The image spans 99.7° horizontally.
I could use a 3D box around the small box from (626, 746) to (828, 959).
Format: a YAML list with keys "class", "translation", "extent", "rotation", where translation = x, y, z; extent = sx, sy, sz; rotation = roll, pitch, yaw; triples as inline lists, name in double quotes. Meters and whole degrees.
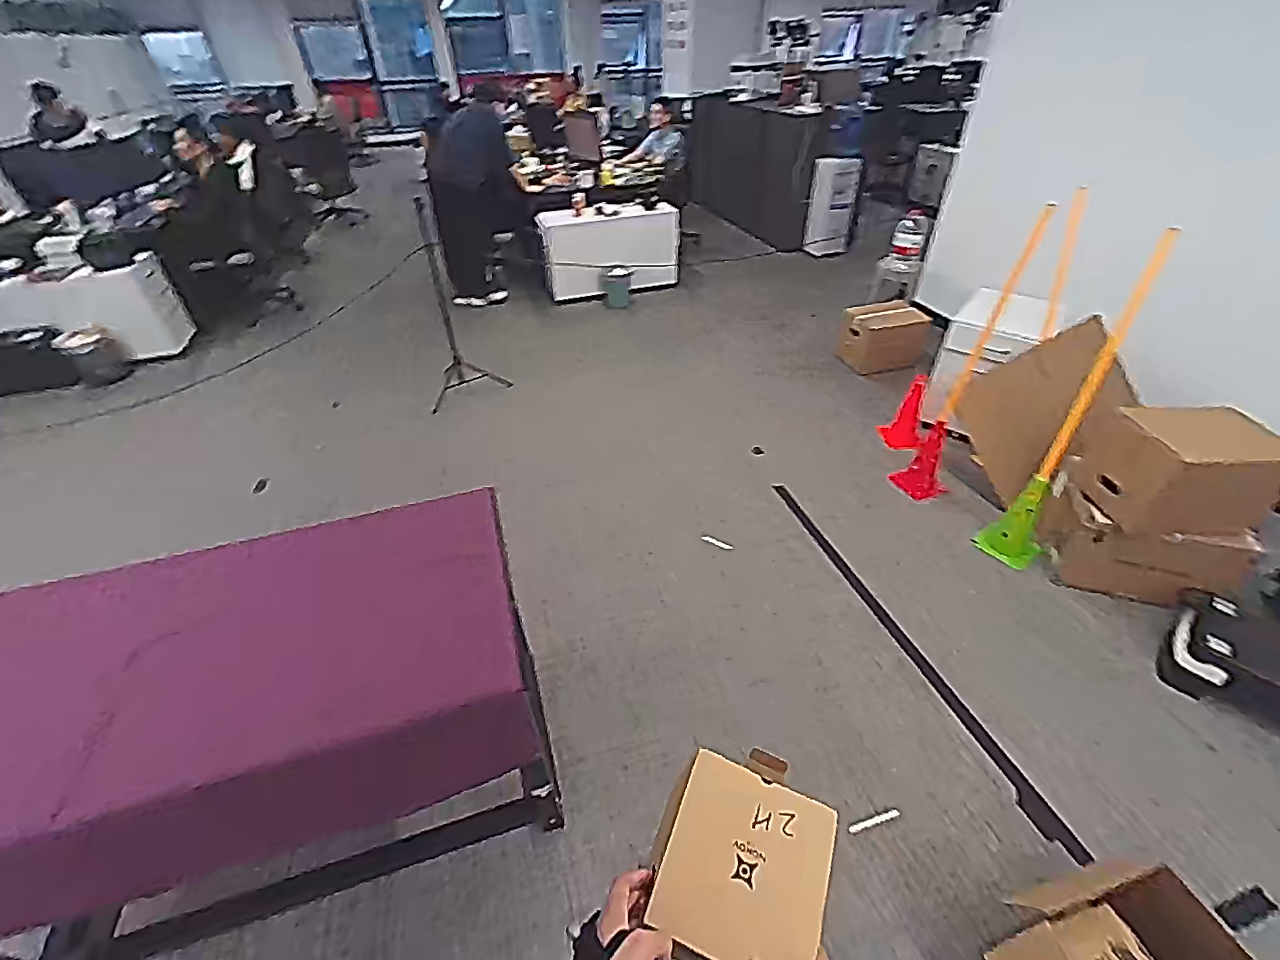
- class: "small box"
  translation: [0.092, 0.447, 0.616]
  extent: [0.168, 0.176, 0.179]
  rotation: [22, 48, 10]
